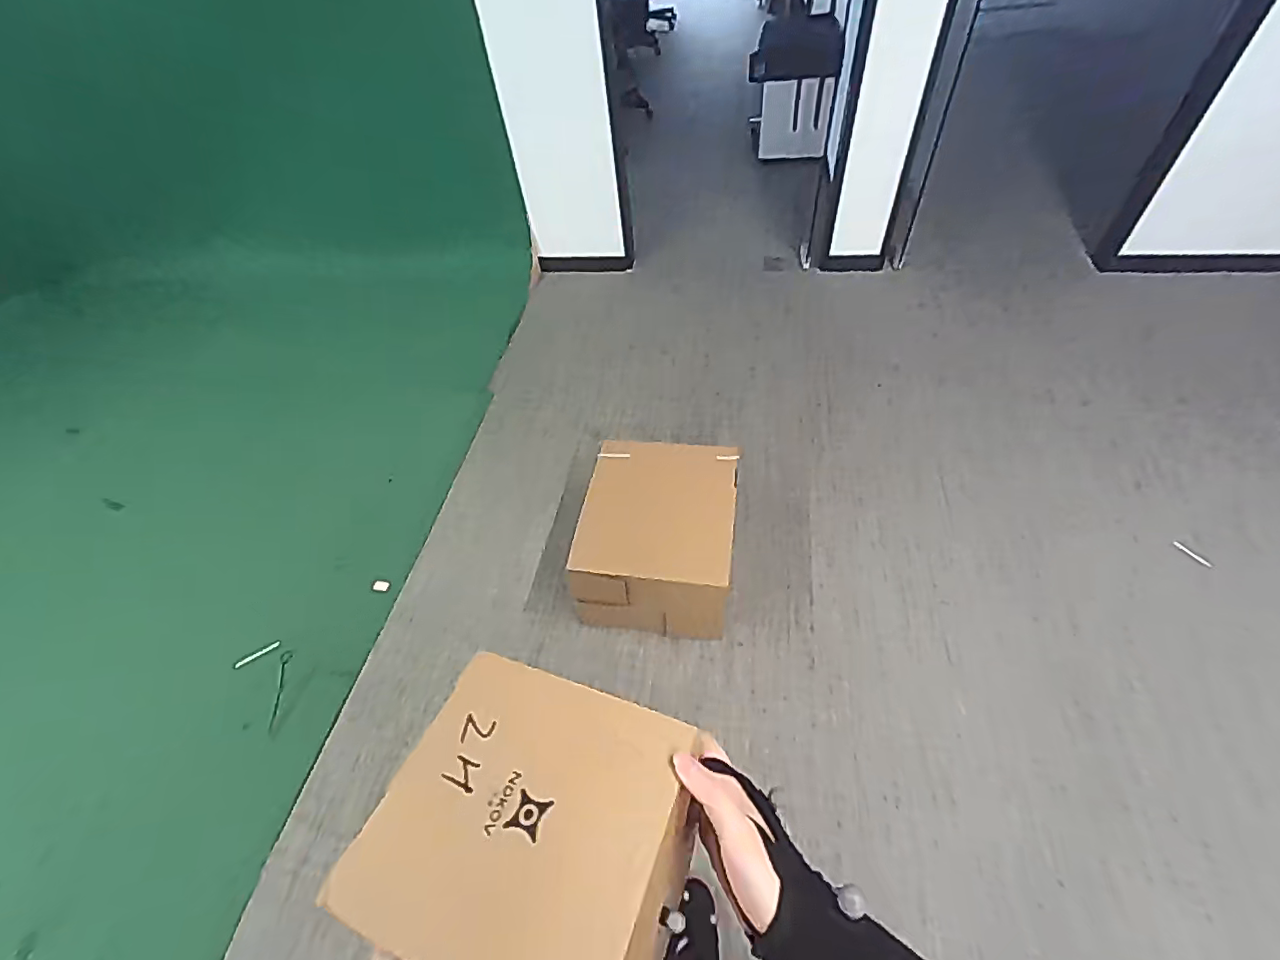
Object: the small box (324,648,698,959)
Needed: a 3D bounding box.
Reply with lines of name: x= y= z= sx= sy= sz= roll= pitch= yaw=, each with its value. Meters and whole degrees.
small box: x=-0.064 y=0.256 z=0.384 sx=0.179 sy=0.176 sz=0.168 roll=12 pitch=45 yaw=21
